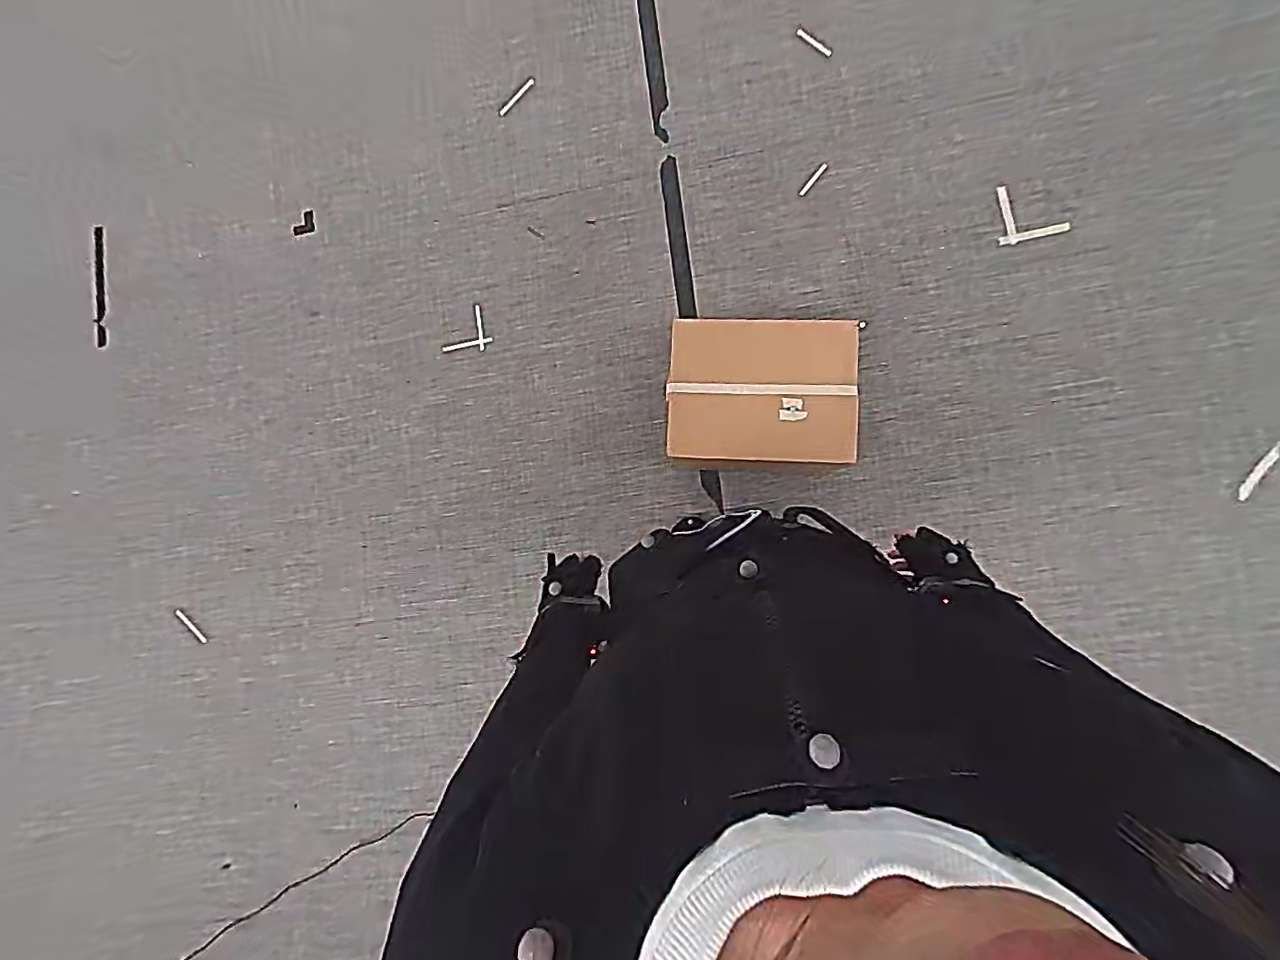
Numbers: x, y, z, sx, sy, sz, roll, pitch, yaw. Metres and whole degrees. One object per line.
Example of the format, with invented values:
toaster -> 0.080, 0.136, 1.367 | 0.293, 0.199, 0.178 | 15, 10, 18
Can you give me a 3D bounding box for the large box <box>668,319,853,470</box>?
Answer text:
large box -> 0.278, -0.195, 1.341 | 0.408, 0.320, 0.320 | 2, 87, 7
